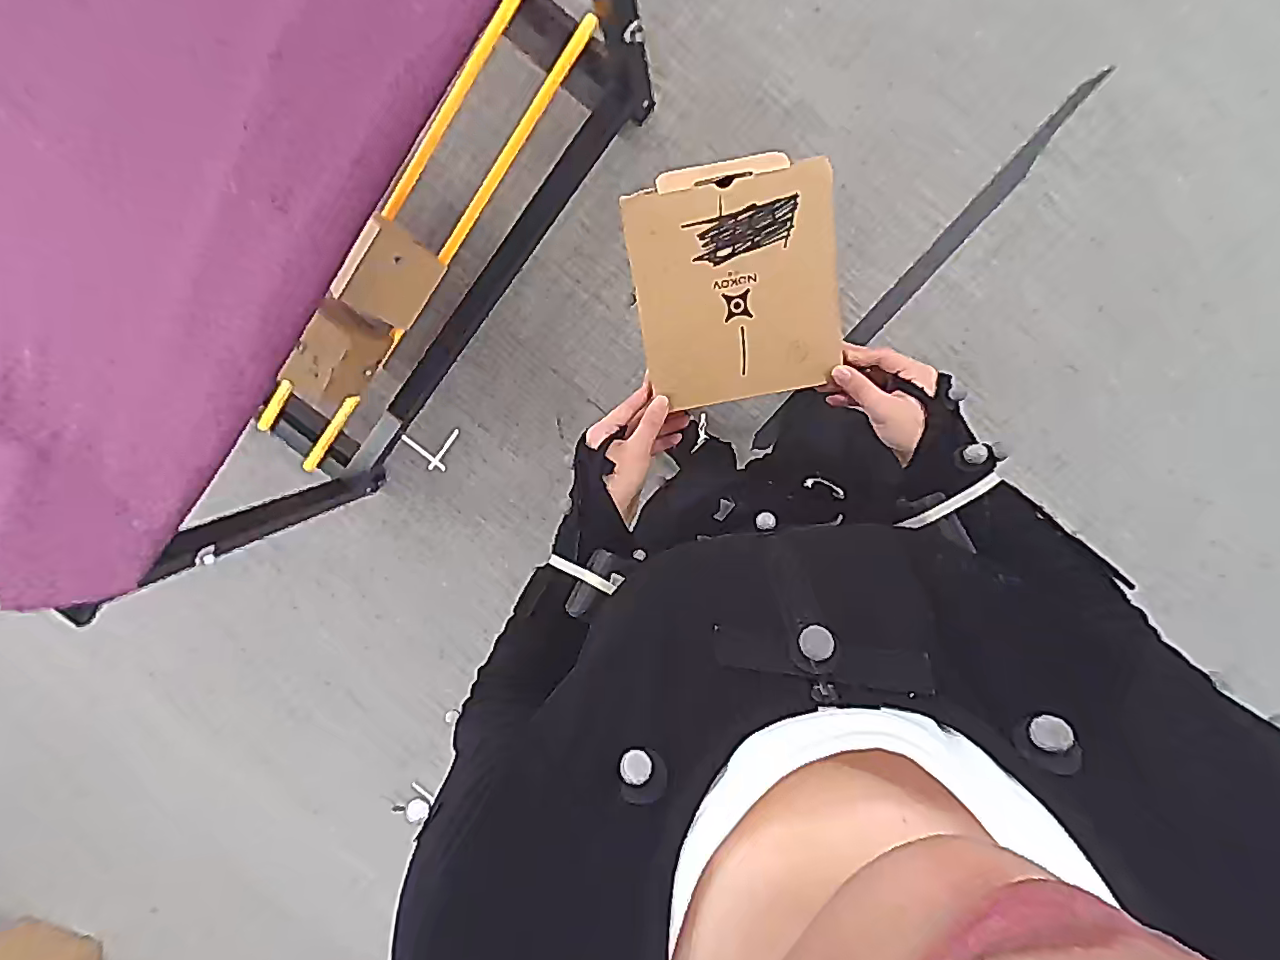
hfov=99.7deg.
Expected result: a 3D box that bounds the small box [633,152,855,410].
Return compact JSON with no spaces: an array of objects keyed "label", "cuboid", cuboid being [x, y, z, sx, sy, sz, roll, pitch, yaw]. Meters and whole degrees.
[{"label":"small box","cuboid":[0.086,-0.176,0.505,0.168,0.176,0.179,-9,109,3]}]

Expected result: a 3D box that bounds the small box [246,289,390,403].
[{"label":"small box","cuboid":[-0.697,-0.289,1.188,0.179,0.176,0.168,36,103,-4]}]
